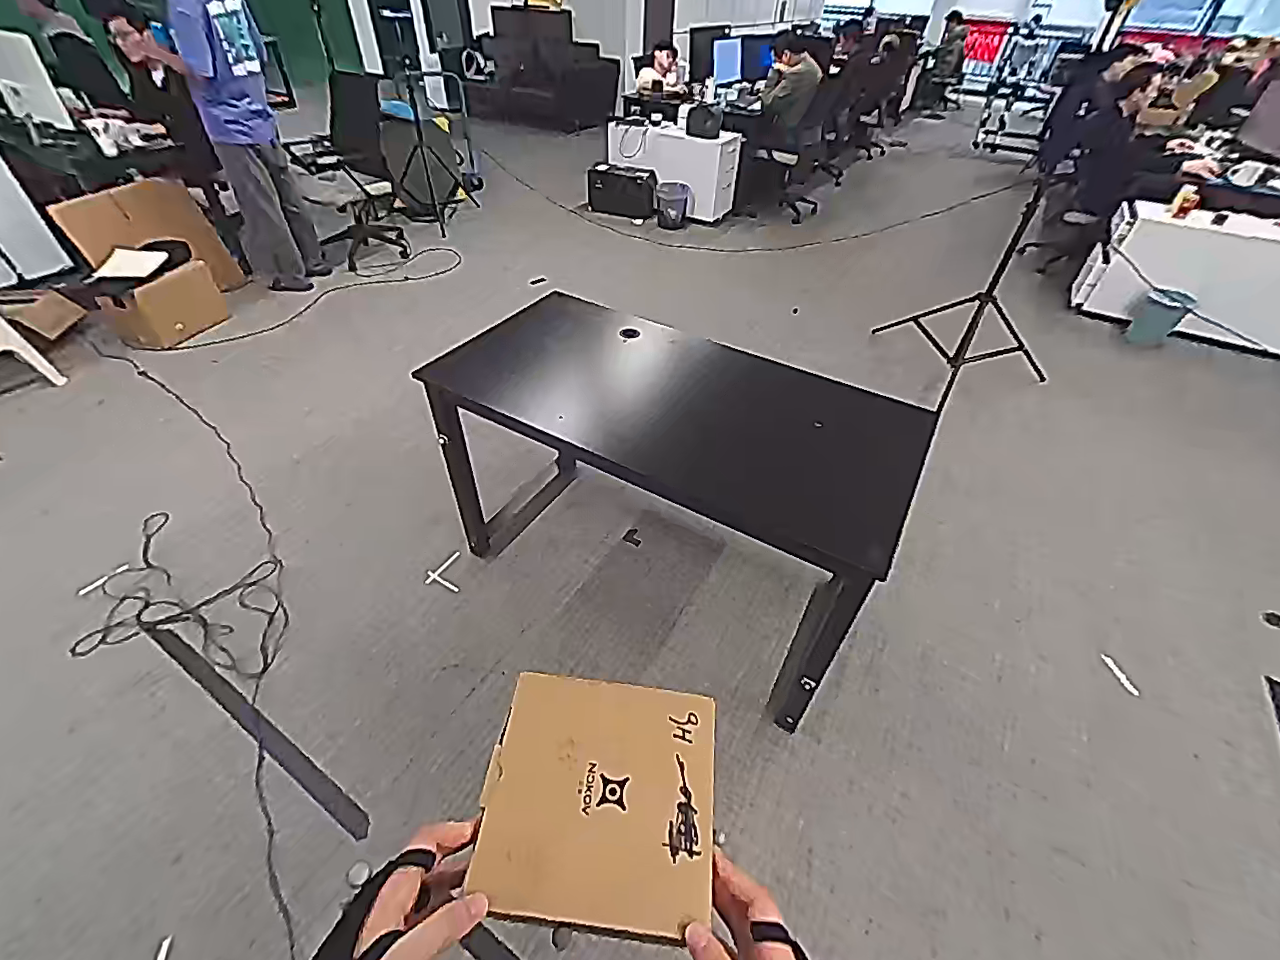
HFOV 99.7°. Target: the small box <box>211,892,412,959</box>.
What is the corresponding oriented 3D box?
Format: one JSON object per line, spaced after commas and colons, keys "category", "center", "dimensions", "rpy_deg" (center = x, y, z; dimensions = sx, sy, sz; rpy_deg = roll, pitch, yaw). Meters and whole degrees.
{"category": "small box", "center": [-0.242, 0.389, 0.314], "dimensions": [0.179, 0.168, 0.176], "rpy_deg": [12, 38, -44]}
